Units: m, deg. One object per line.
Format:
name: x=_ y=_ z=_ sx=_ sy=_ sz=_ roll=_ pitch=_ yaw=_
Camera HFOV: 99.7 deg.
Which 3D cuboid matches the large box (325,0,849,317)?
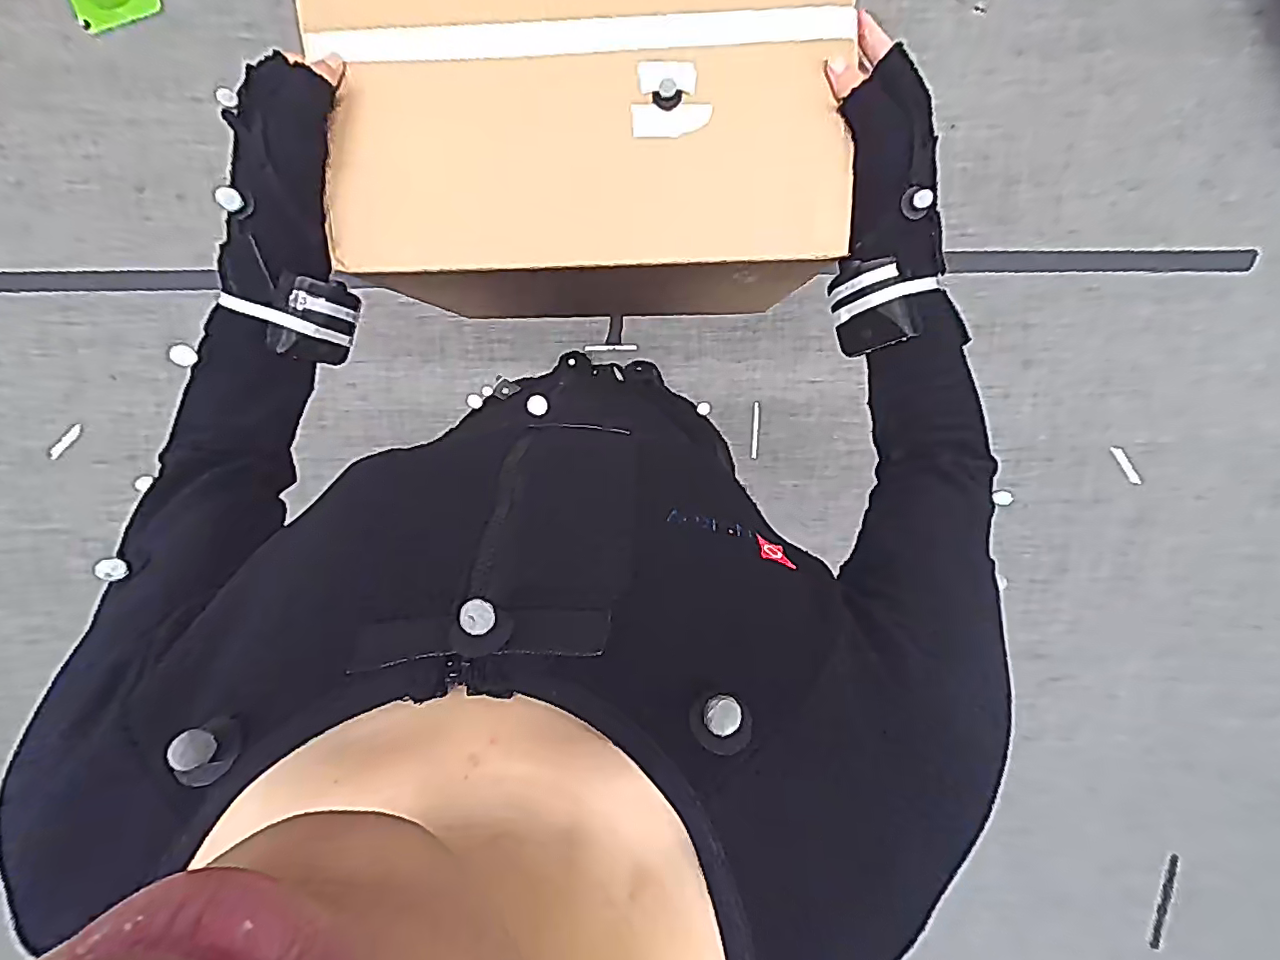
large box: x=-0.039 y=-0.355 z=0.557 sx=0.408 sy=0.320 sz=0.320 roll=-1 pitch=100 yaw=1
